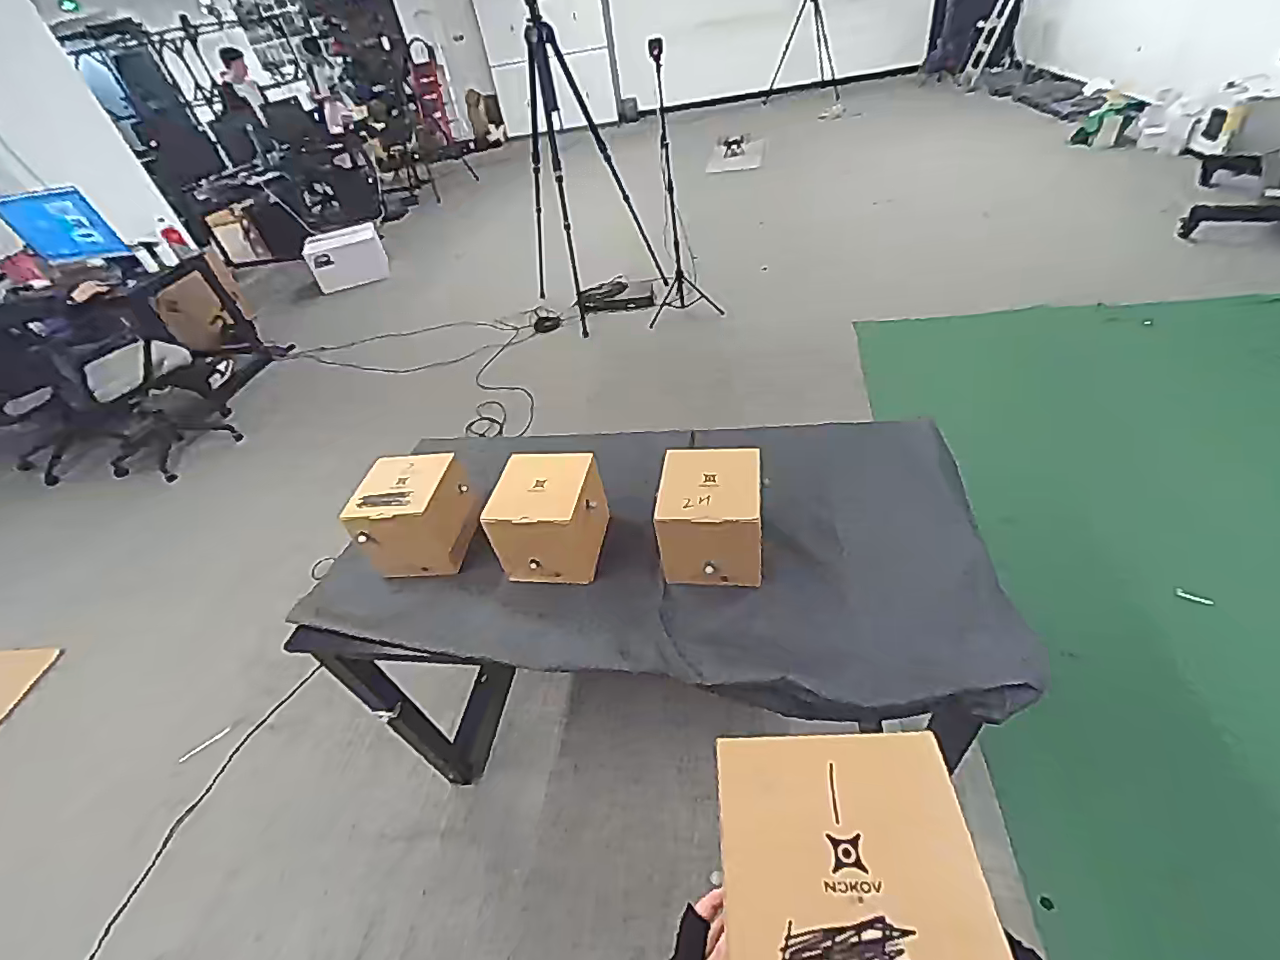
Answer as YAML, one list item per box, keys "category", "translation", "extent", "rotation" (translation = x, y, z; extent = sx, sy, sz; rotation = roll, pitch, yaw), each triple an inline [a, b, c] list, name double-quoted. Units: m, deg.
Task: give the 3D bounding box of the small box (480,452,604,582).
- category: "small box"
  translation: [-0.169, 0.067, 1.007]
  extent: [0.168, 0.176, 0.179]
  rotation: [0, 43, 11]

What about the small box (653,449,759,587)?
- category: "small box"
  translation: [0.123, 0.063, 0.948]
  extent: [0.168, 0.176, 0.179]
  rotation: [0, 43, 12]

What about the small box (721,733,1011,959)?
- category: "small box"
  translation: [0.153, 0.315, 0.410]
  extent: [0.168, 0.176, 0.179]
  rotation: [-5, 41, 9]
